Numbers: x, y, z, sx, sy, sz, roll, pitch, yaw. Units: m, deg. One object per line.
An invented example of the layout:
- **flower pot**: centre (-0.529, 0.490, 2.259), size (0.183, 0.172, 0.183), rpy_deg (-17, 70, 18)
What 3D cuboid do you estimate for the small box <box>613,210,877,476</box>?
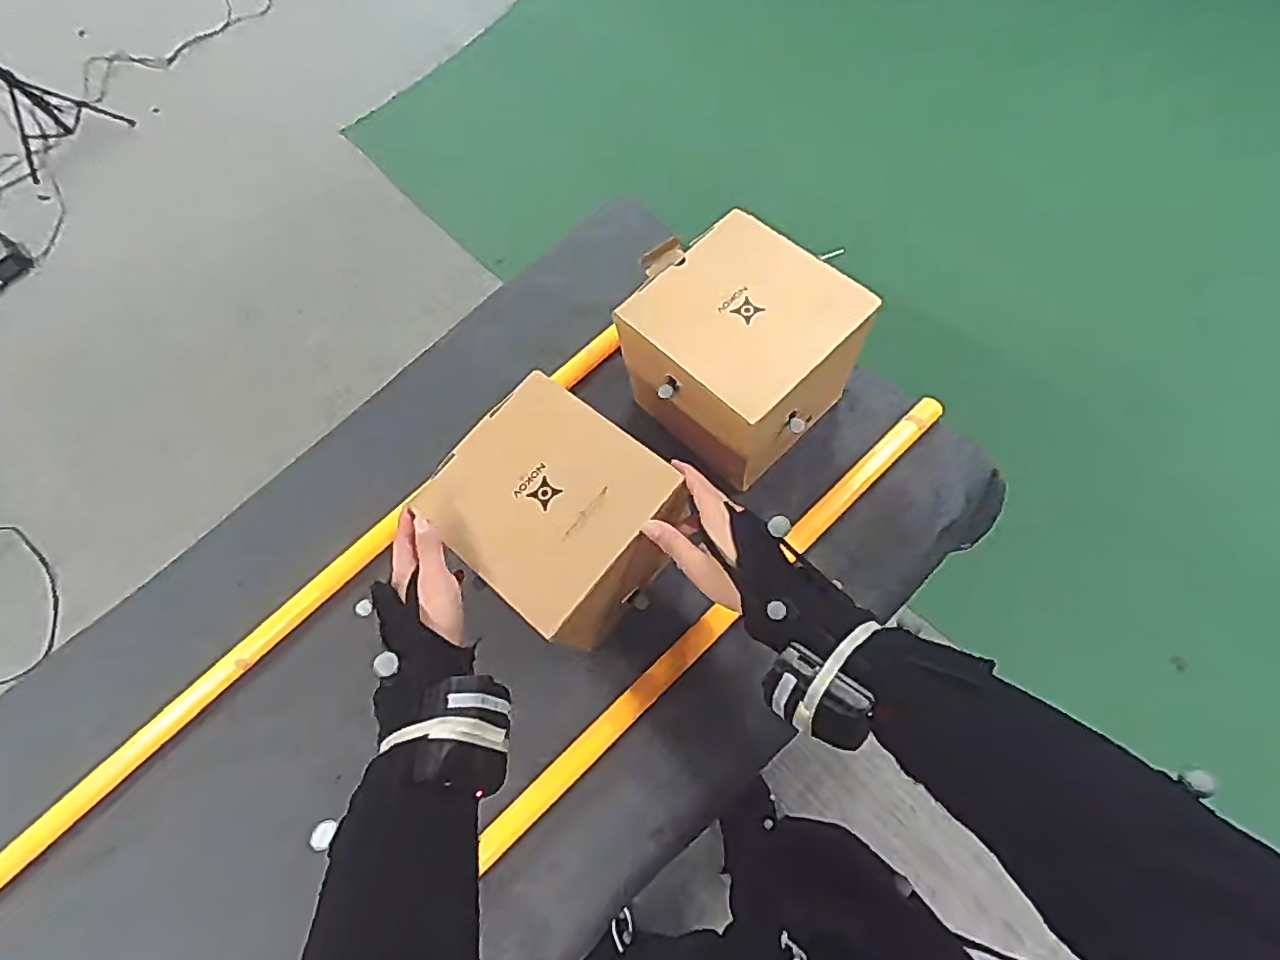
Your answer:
- **small box**: centre (0.101, -0.125, 0.556), size (0.168, 0.176, 0.179), rpy_deg (-43, 69, -9)
